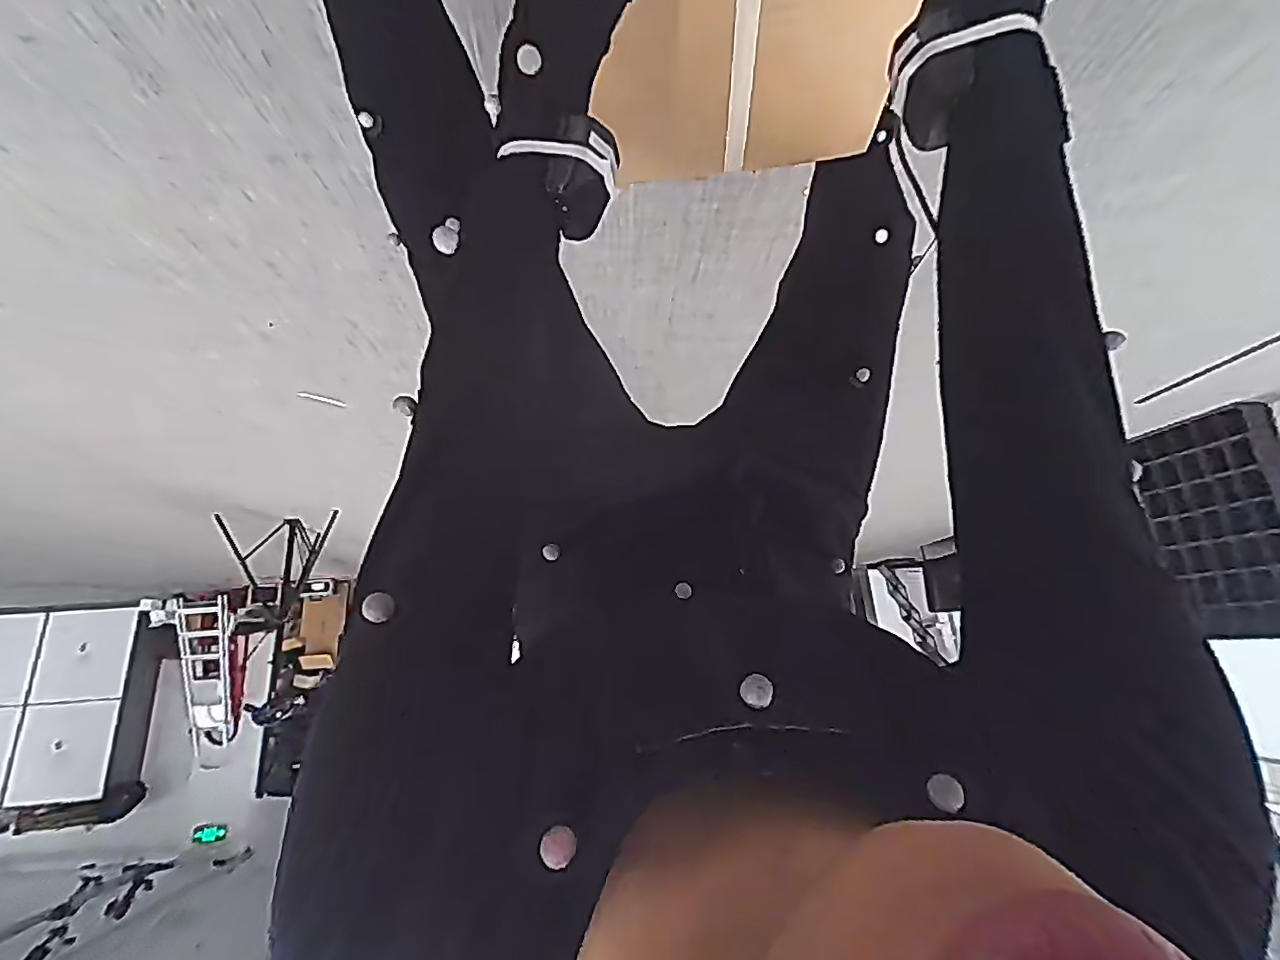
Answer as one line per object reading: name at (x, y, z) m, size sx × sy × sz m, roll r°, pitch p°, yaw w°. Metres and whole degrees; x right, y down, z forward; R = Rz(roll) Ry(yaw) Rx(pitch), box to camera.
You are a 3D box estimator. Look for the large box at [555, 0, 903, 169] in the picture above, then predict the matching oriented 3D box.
large box at (0.072, -0.575, 0.486) m, size 0.320 × 0.320 × 0.408 m, roll -4°, pitch 162°, yaw 3°
